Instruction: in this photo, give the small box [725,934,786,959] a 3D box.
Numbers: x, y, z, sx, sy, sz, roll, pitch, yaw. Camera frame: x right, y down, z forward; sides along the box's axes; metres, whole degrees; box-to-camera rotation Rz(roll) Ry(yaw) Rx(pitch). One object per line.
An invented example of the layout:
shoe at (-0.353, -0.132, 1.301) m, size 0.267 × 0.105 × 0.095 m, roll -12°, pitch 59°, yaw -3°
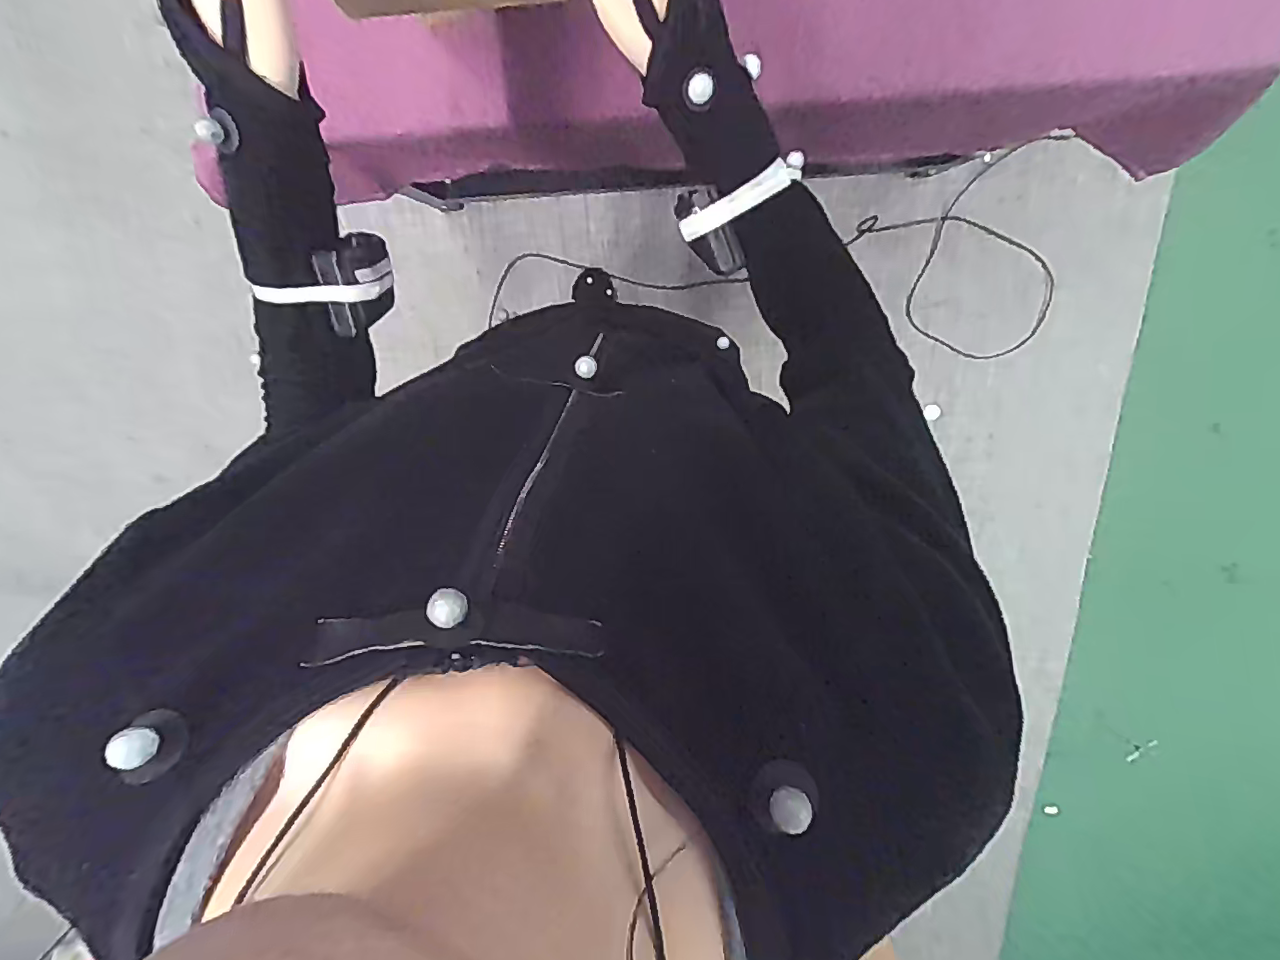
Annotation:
small box at (0.400, 1.678, 1.822) m, size 0.179 × 0.176 × 0.168 m, roll 8°, pitch 108°, yaw -4°
